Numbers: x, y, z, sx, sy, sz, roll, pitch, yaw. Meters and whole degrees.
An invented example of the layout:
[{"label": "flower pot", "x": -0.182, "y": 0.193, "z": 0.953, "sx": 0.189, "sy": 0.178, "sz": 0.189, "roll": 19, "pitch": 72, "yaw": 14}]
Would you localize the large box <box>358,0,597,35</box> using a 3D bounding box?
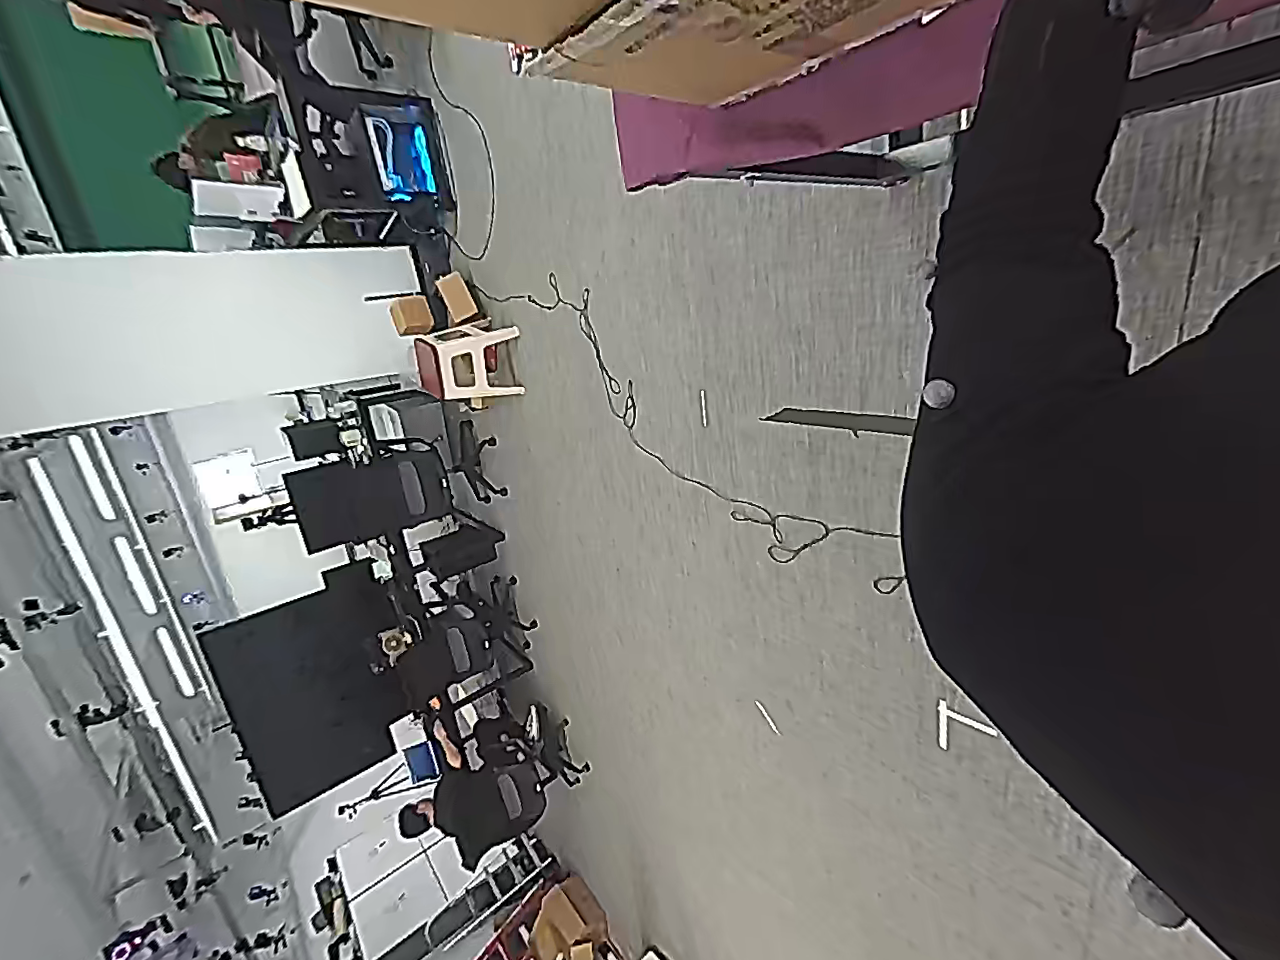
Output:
[{"label": "large box", "x": -0.137, "y": -0.566, "z": 0.290, "sx": 0.320, "sy": 0.320, "sz": 0.408, "roll": 15, "pitch": 119, "yaw": 51}]
